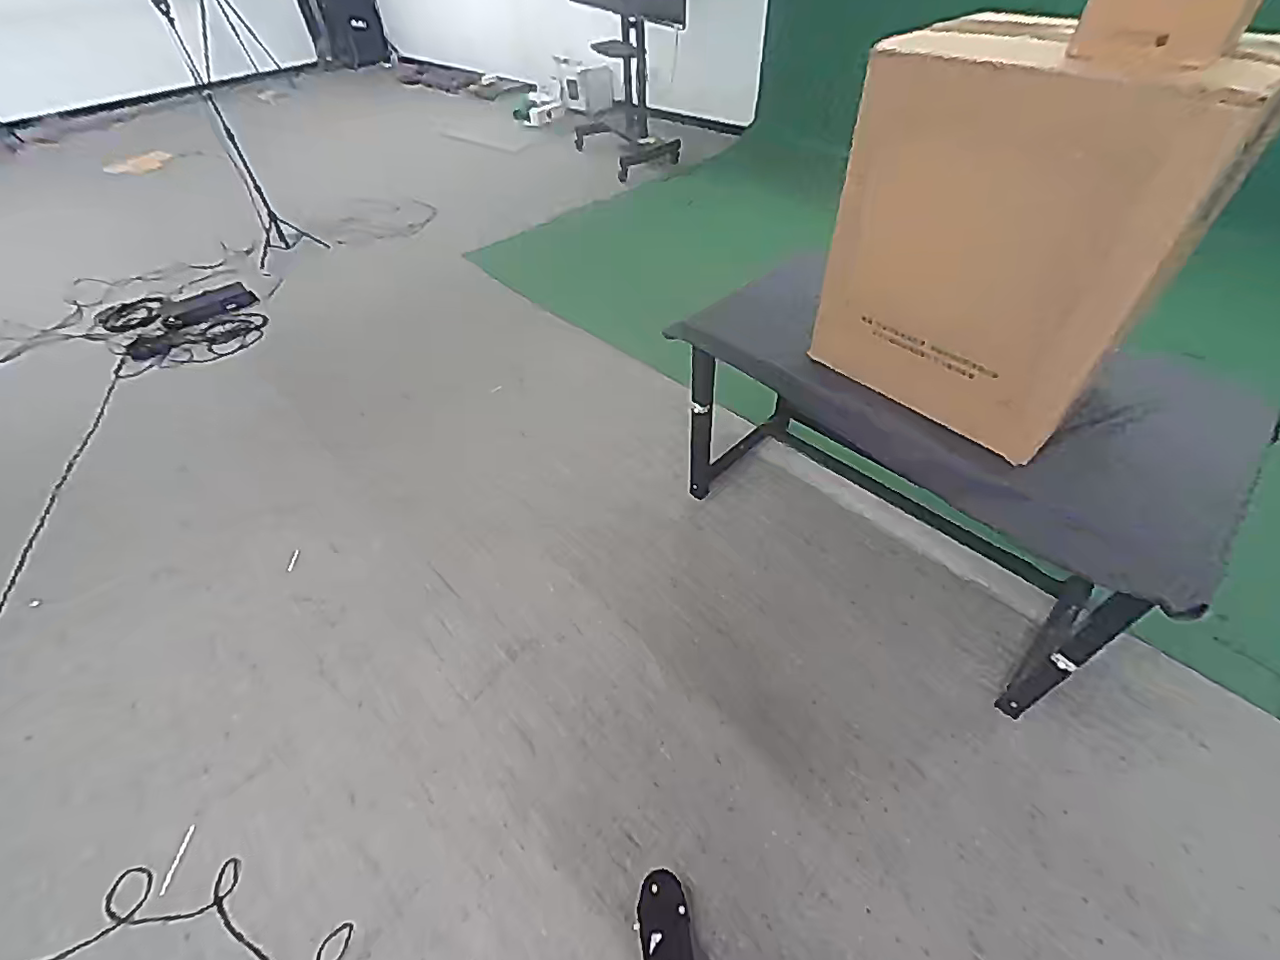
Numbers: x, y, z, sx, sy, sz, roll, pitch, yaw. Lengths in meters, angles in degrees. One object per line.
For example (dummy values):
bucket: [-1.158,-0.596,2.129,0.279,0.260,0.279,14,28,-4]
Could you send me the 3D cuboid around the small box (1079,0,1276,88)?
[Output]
small box: [0.738,-0.649,0.720,0.179,0.176,0.168,-37,58,-27]
